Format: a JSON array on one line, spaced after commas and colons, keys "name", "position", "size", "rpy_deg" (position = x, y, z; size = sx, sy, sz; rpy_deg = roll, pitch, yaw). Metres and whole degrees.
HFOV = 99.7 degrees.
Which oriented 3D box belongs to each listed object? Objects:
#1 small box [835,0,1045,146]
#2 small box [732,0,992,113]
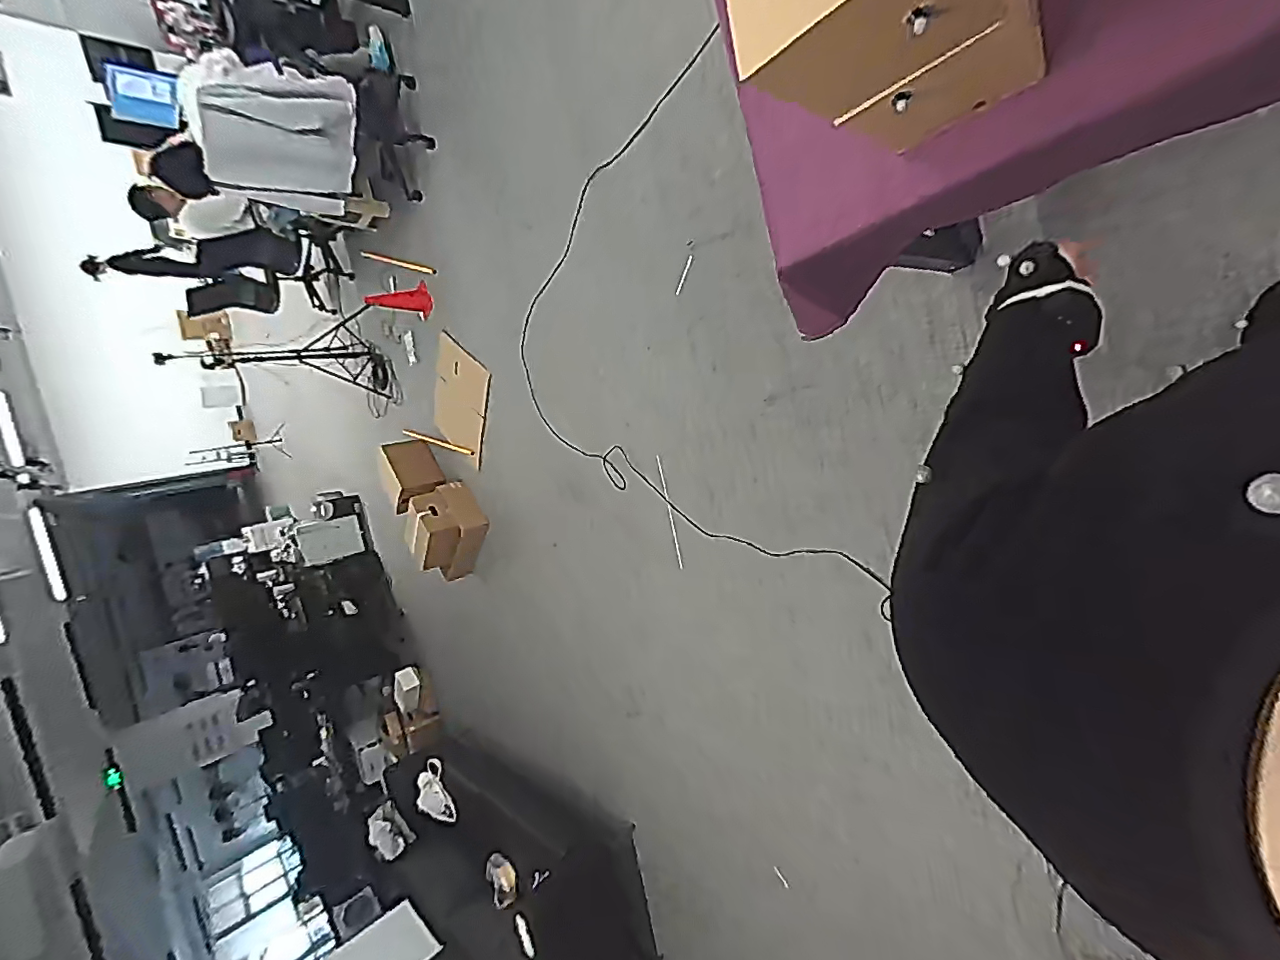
[{"name": "small box", "position": [0.317, -0.505, 0.590], "size": [0.168, 0.176, 0.179], "rpy_deg": [-6, 97, 49]}, {"name": "small box", "position": [0.198, -0.471, 0.482], "size": [0.179, 0.176, 0.168], "rpy_deg": [-4, 99, 49]}]
